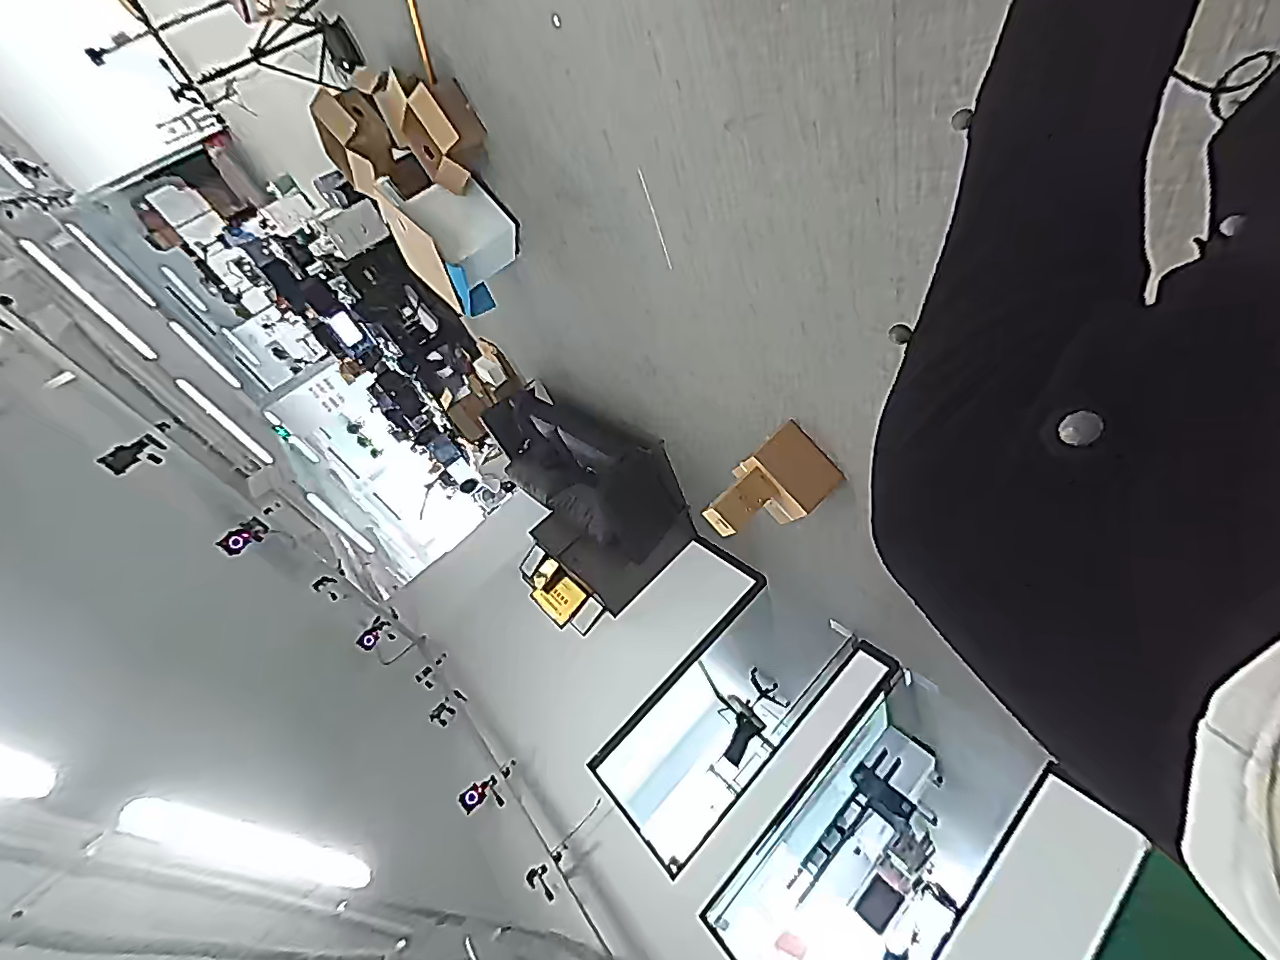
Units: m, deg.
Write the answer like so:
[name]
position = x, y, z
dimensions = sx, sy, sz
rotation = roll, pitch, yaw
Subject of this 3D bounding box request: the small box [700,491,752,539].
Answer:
[small box]
position = 0.437, 0.172, 2.710
dimensions = 0.168, 0.176, 0.179
rotation = 48, 163, 1

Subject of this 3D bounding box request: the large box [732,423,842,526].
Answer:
[large box]
position = 0.772, -0.023, 2.866
dimensions = 0.408, 0.320, 0.320
rotation = 47, 163, 3
